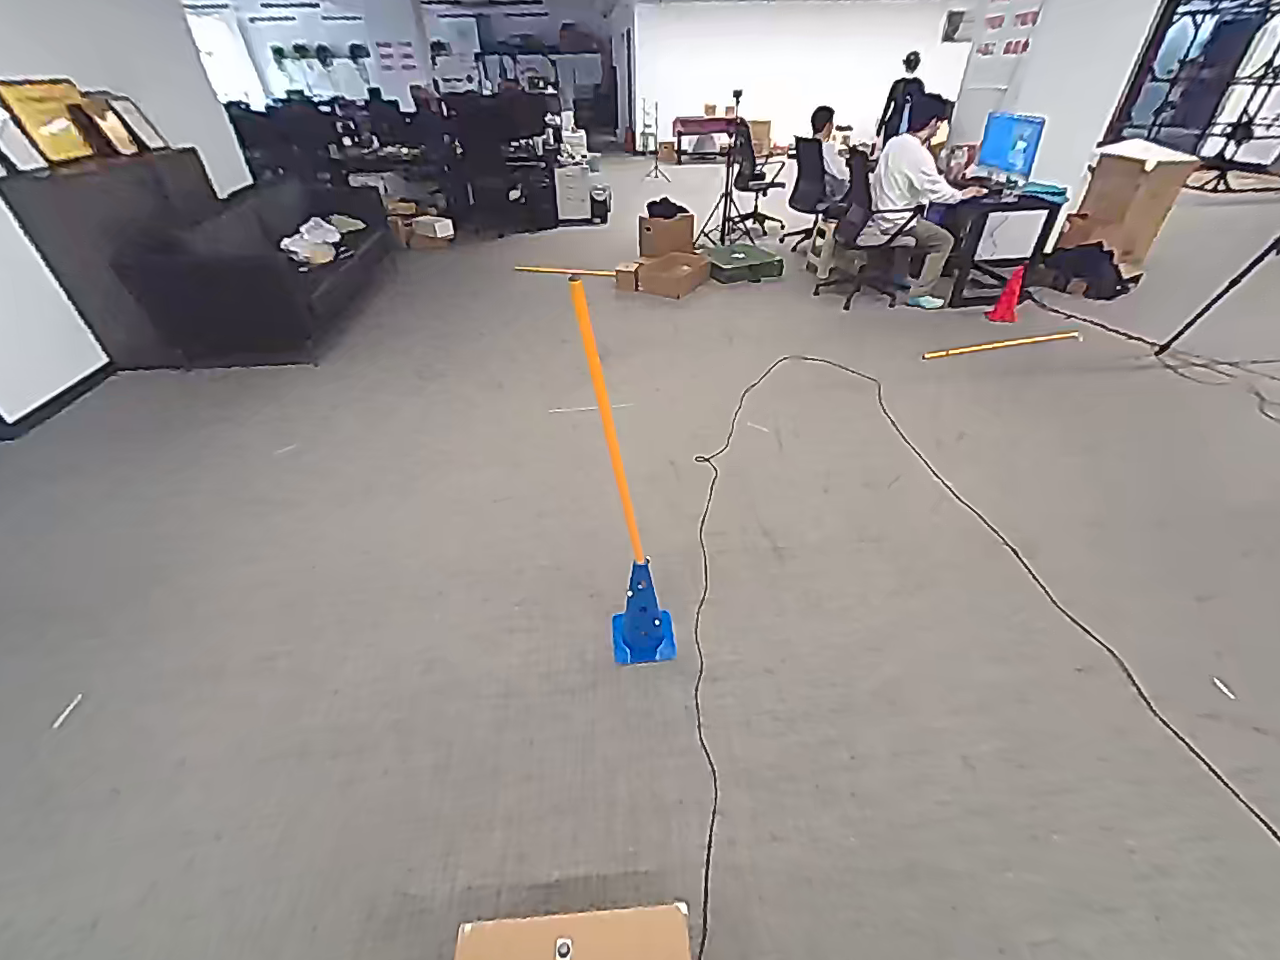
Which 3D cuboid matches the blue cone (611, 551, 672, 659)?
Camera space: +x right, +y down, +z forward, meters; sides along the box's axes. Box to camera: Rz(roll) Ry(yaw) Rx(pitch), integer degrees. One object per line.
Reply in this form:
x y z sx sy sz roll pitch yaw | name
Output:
-0.002 0.372 1.682 0.193 0.380 0.192 -7 37 -5 | blue cone
